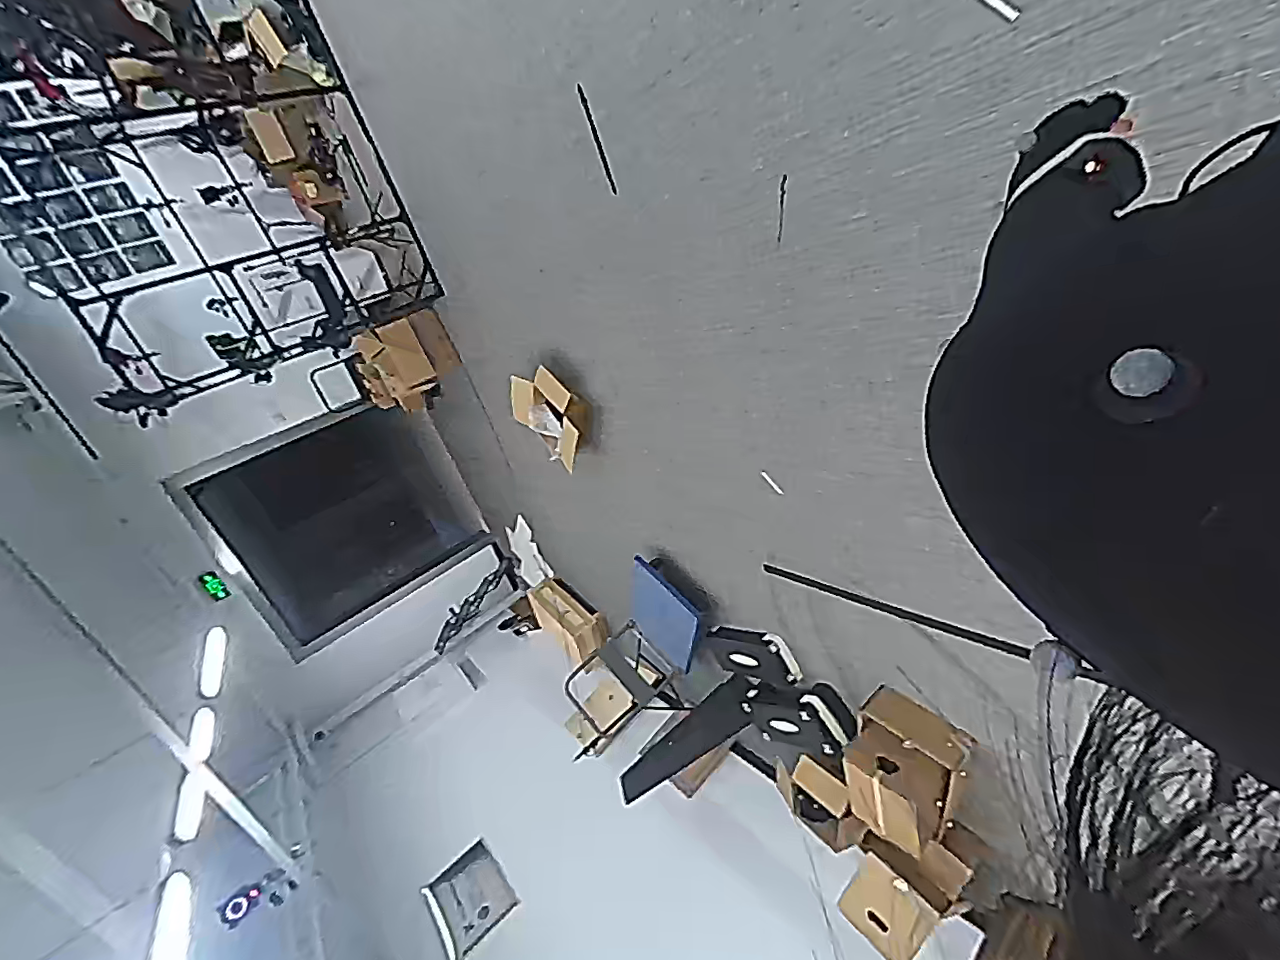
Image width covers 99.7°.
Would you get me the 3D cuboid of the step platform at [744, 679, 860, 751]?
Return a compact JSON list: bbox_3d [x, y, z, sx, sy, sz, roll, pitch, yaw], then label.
[{"bbox_3d":[0.861,1.281,2.978,0.286,0.204,0.684,55,152,3],"label":"step platform"}]
